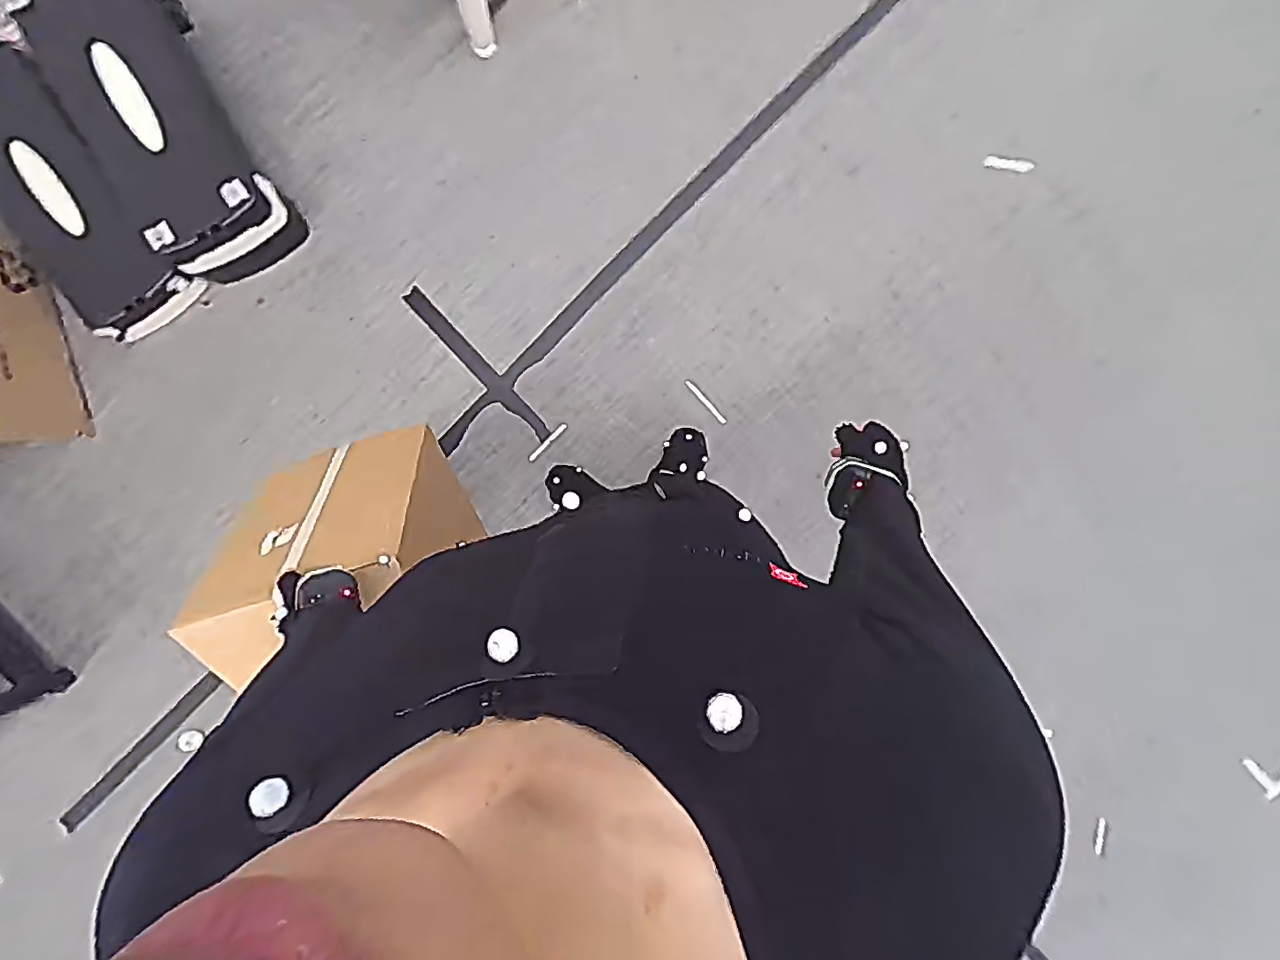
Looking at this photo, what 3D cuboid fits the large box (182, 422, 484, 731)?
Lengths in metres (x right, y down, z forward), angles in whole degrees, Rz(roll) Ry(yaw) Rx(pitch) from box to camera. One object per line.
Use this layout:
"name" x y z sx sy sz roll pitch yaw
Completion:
"large box" -0.484 0.154 0.975 0.320 0.408 0.320 -17 127 -3
